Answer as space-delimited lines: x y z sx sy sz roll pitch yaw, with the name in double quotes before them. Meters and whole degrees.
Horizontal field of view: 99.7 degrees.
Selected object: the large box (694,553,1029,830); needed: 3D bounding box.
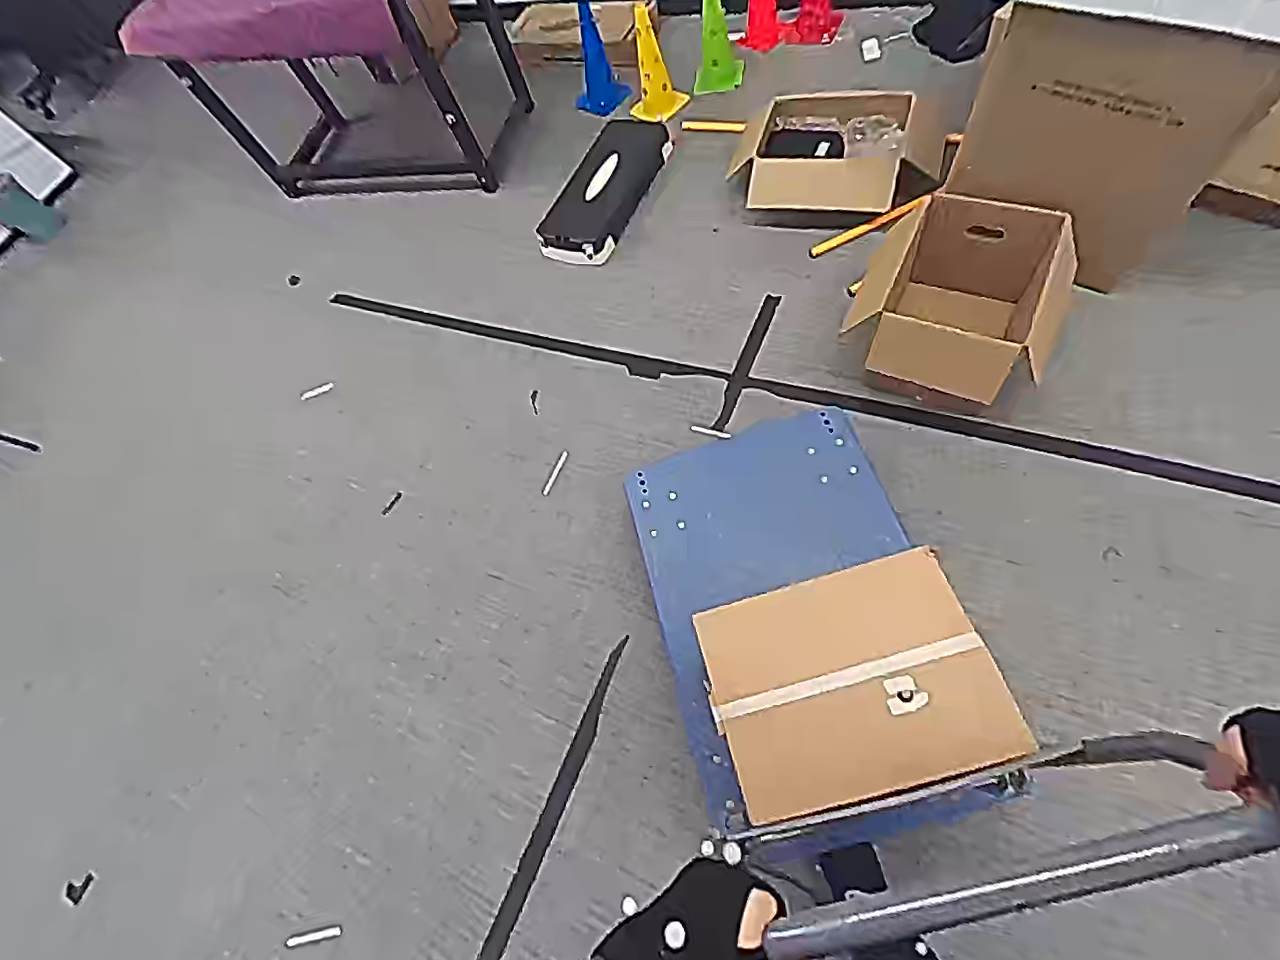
"large box" 0.342 0.374 0.952 0.408 0.320 0.320 -17 62 4
